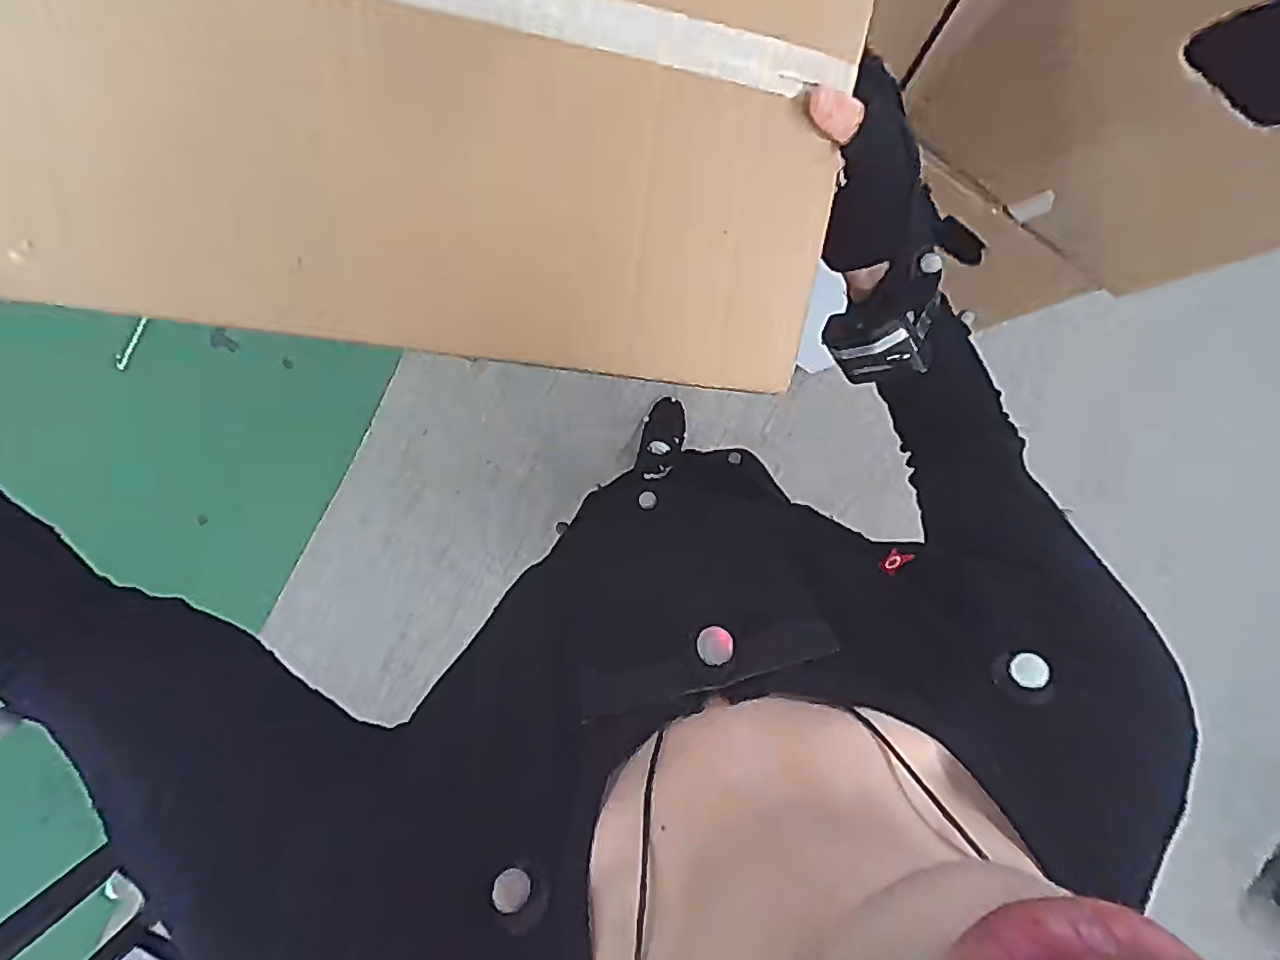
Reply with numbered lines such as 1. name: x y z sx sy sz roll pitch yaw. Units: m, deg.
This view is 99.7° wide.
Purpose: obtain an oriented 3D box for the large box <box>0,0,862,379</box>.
1. large box: -0.109 -0.265 0.381 0.408 0.320 0.320 6 105 -10
